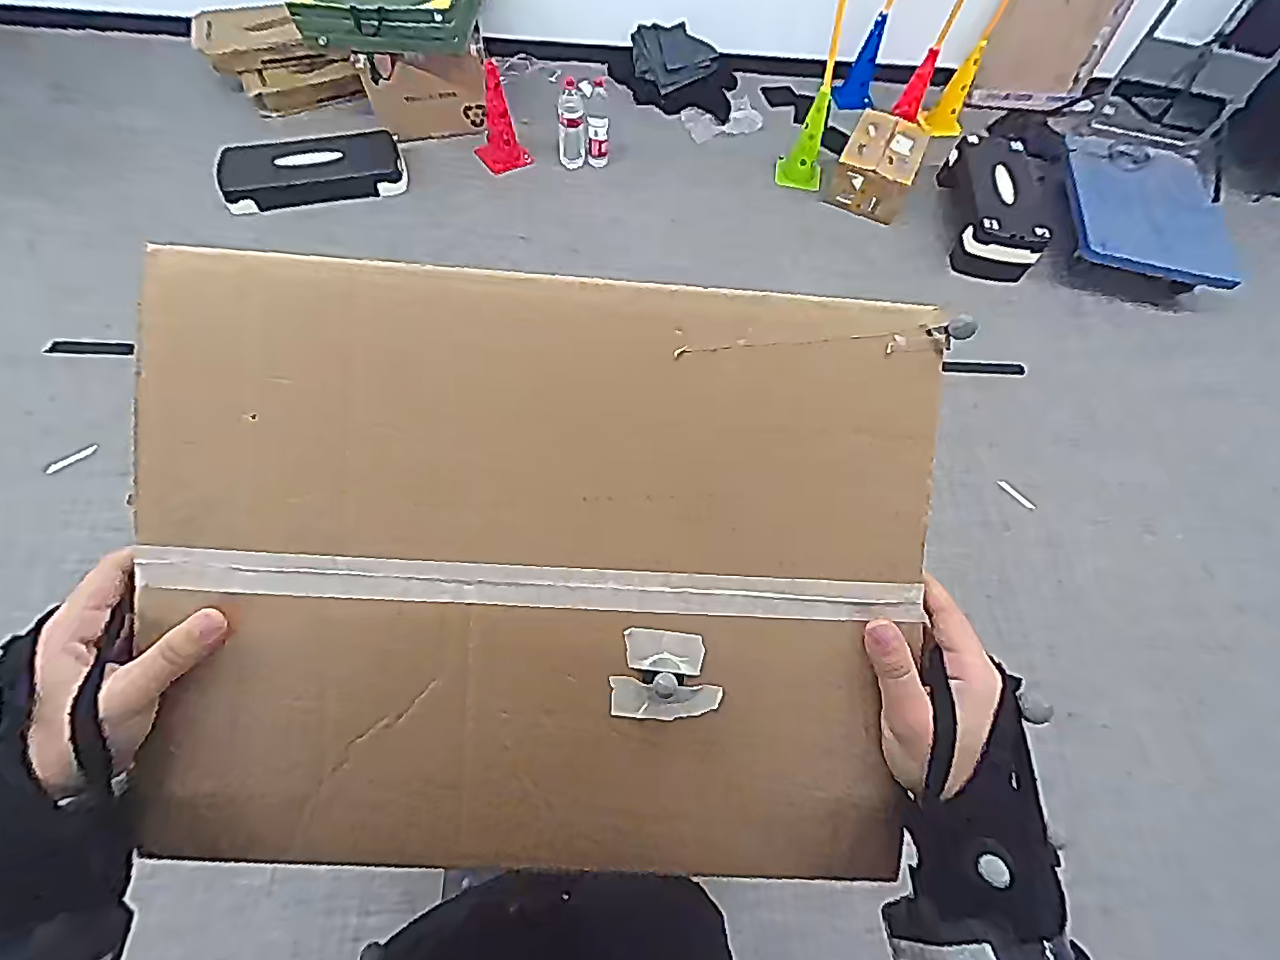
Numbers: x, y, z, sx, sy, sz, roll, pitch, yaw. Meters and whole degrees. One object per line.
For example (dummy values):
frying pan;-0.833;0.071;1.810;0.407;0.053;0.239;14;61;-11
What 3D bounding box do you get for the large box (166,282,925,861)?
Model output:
large box;-0.057;0.052;0.442;0.408;0.320;0.320;3;94;-4
